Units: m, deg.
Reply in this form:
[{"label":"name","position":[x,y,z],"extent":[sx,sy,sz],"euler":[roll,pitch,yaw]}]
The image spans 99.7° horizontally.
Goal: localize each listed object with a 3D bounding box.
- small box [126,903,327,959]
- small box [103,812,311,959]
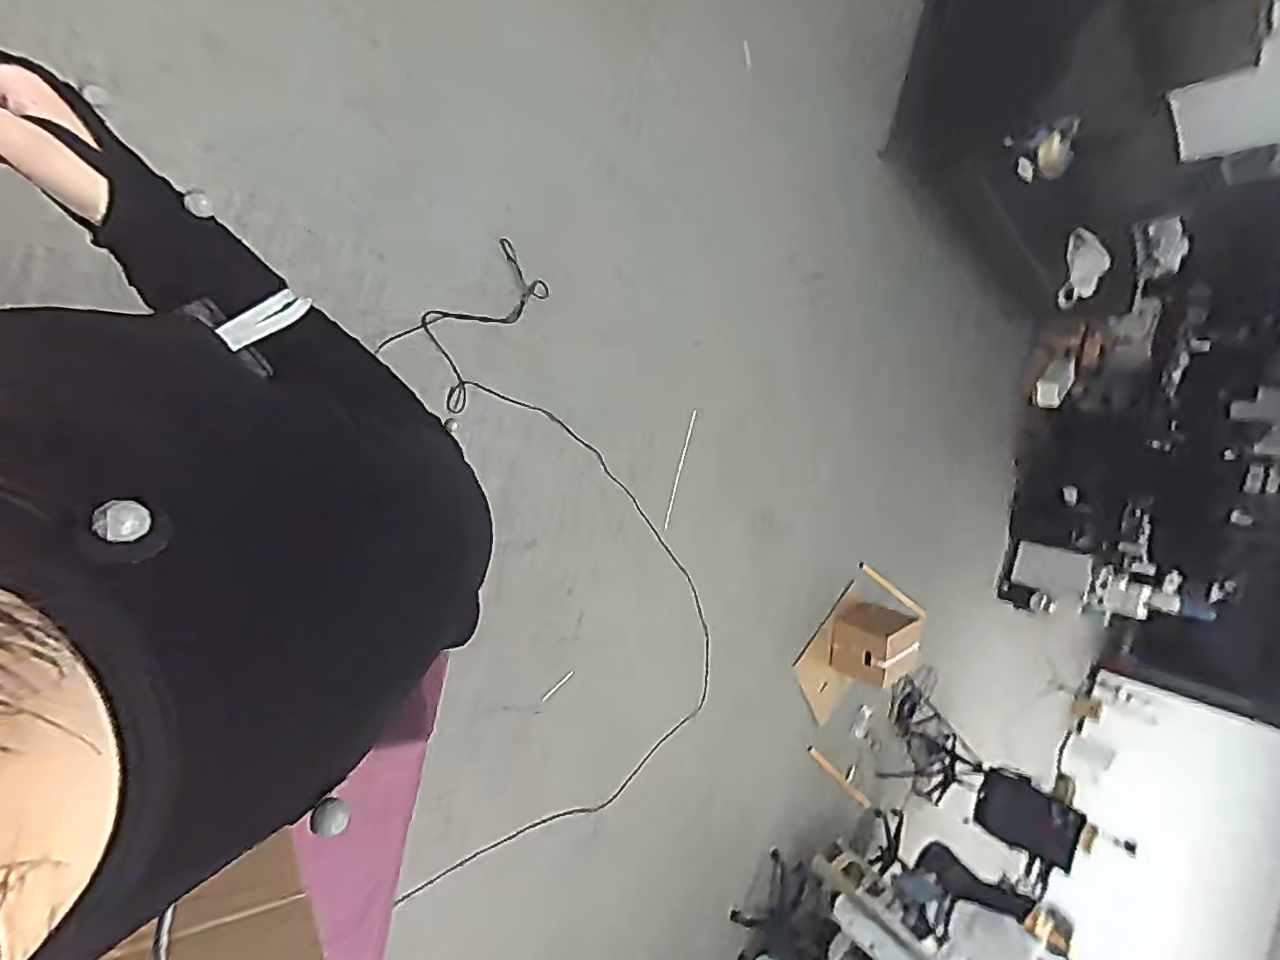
[{"label":"small box","position":[-0.397,0.547,0.498],"extent":[0.179,0.176,0.168],"euler":[10,93,-40]},{"label":"small box","position":[-0.501,0.519,0.622],"extent":[0.168,0.176,0.179],"euler":[11,93,-40]}]
